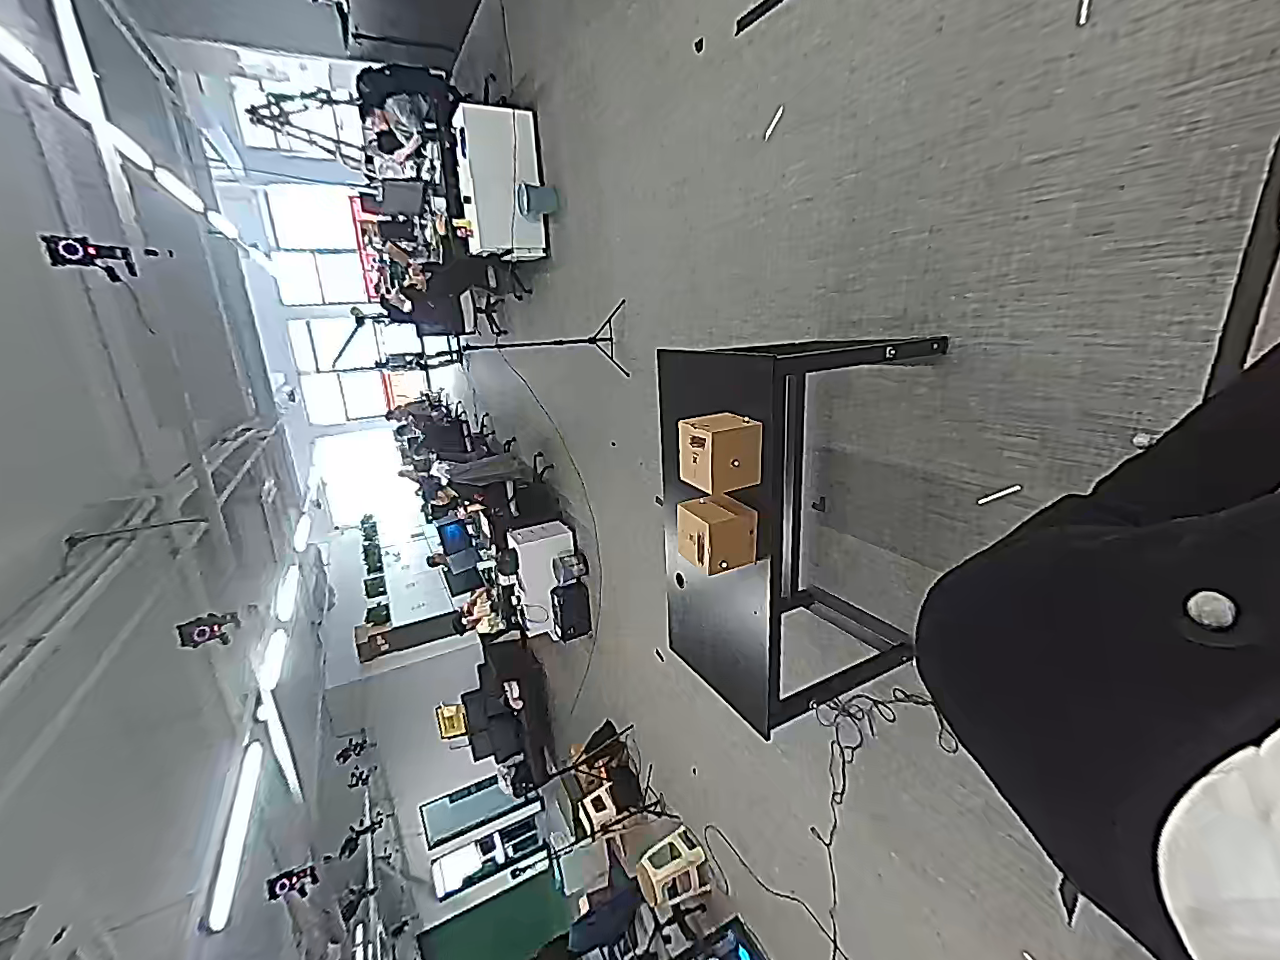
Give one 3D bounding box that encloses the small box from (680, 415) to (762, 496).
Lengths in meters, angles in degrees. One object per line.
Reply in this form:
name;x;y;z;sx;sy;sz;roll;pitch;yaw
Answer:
small box;0.225;-0.077;1.506;0.168;0.176;0.179;32;130;58
